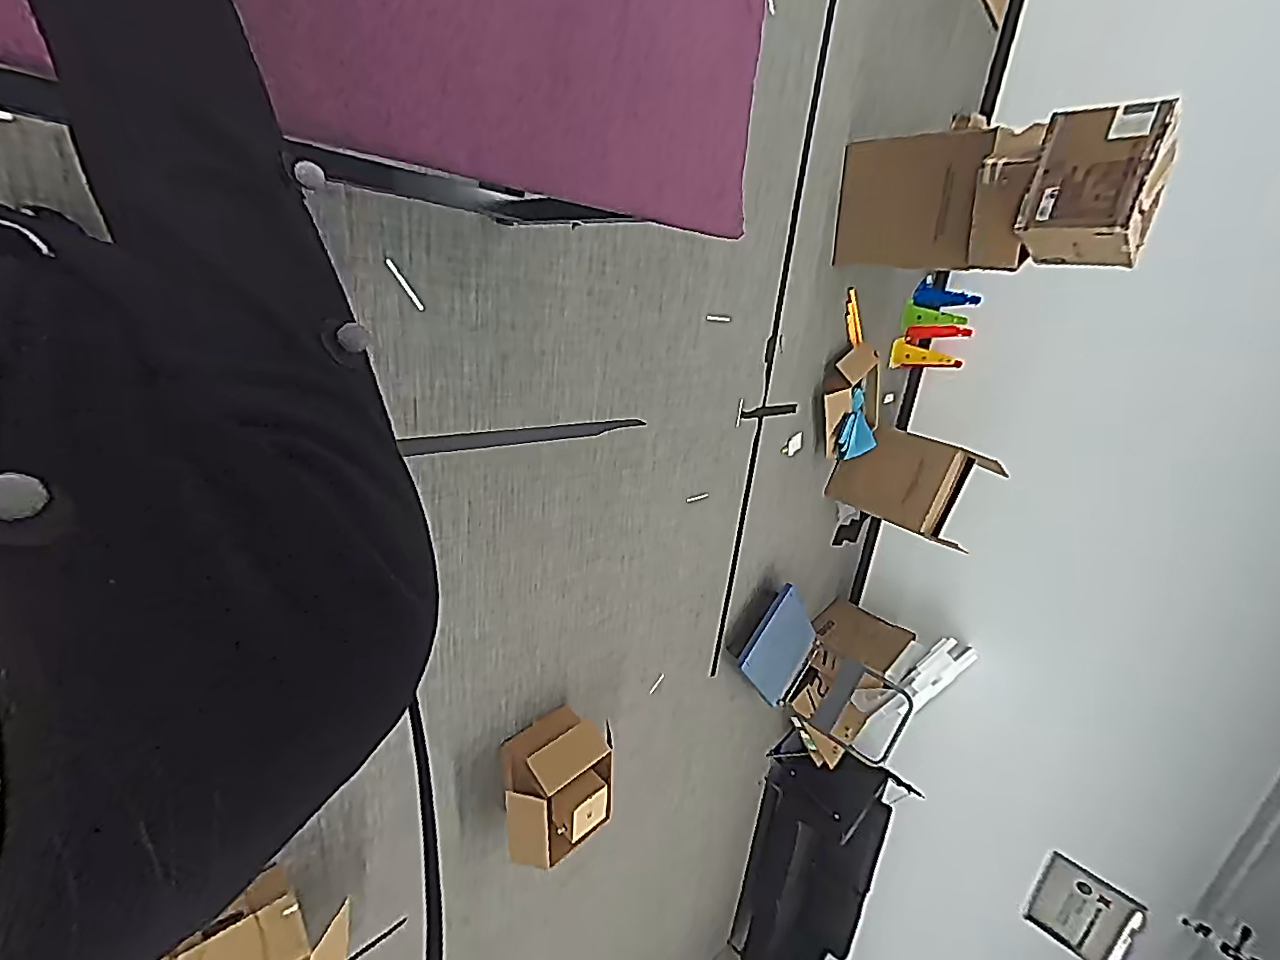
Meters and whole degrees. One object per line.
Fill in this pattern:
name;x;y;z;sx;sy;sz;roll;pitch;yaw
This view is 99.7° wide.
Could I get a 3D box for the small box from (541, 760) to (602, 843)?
small box;-0.267;1.228;2.077;0.168;0.176;0.179;-15;118;-44
